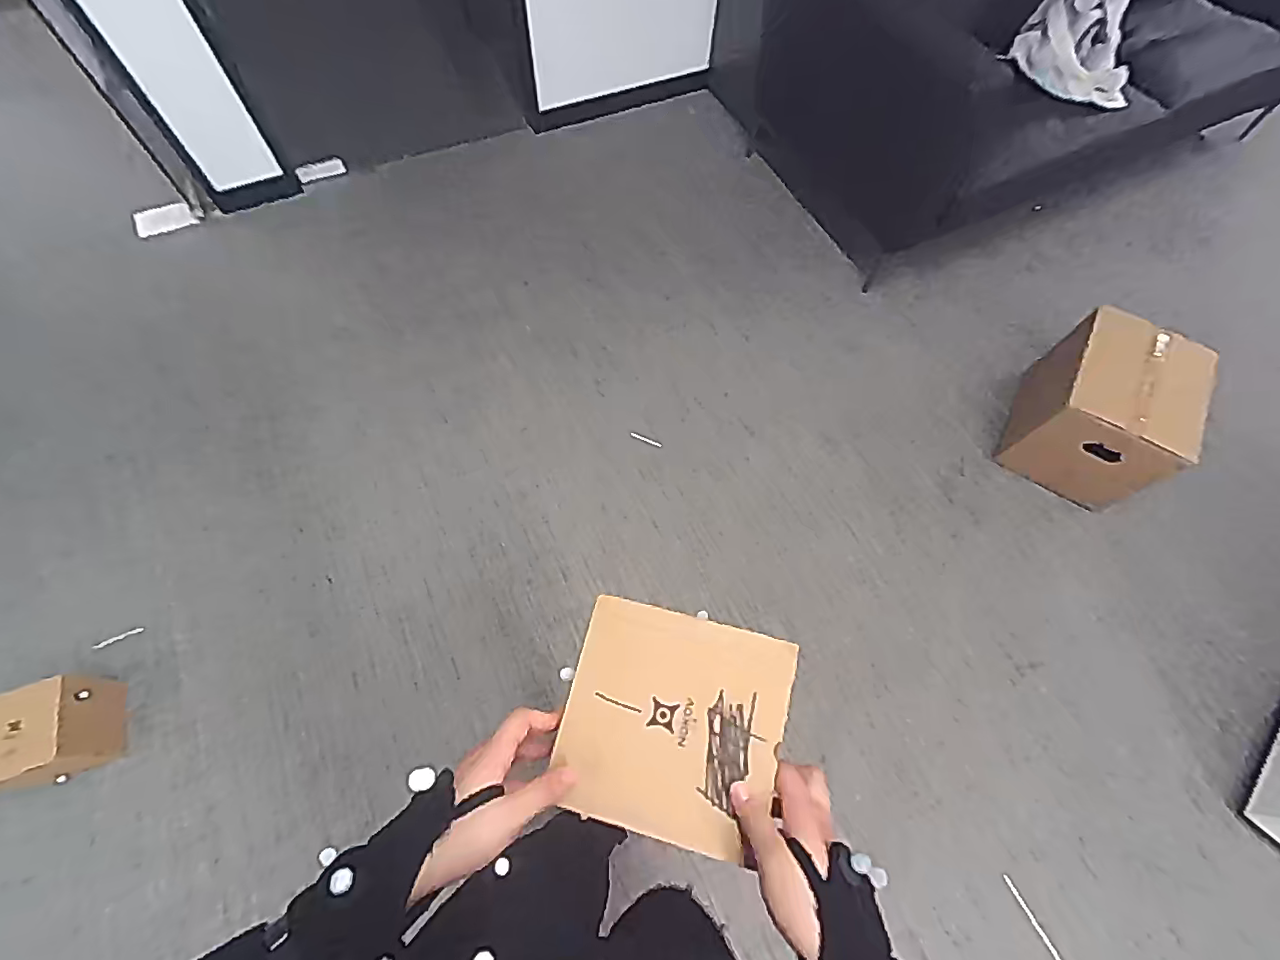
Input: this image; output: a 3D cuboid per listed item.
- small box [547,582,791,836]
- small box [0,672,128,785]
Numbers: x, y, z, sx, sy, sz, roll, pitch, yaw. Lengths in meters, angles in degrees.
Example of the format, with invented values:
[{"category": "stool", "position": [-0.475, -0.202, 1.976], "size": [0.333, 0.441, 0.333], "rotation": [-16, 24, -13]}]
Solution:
[{"category": "small box", "position": [0.024, 0.210, 0.528], "size": [0.179, 0.176, 0.168], "rotation": [16, 71, 1]}, {"category": "small box", "position": [-1.251, 0.534, 1.156], "size": [0.168, 0.176, 0.179], "rotation": [-18, 67, -10]}]
